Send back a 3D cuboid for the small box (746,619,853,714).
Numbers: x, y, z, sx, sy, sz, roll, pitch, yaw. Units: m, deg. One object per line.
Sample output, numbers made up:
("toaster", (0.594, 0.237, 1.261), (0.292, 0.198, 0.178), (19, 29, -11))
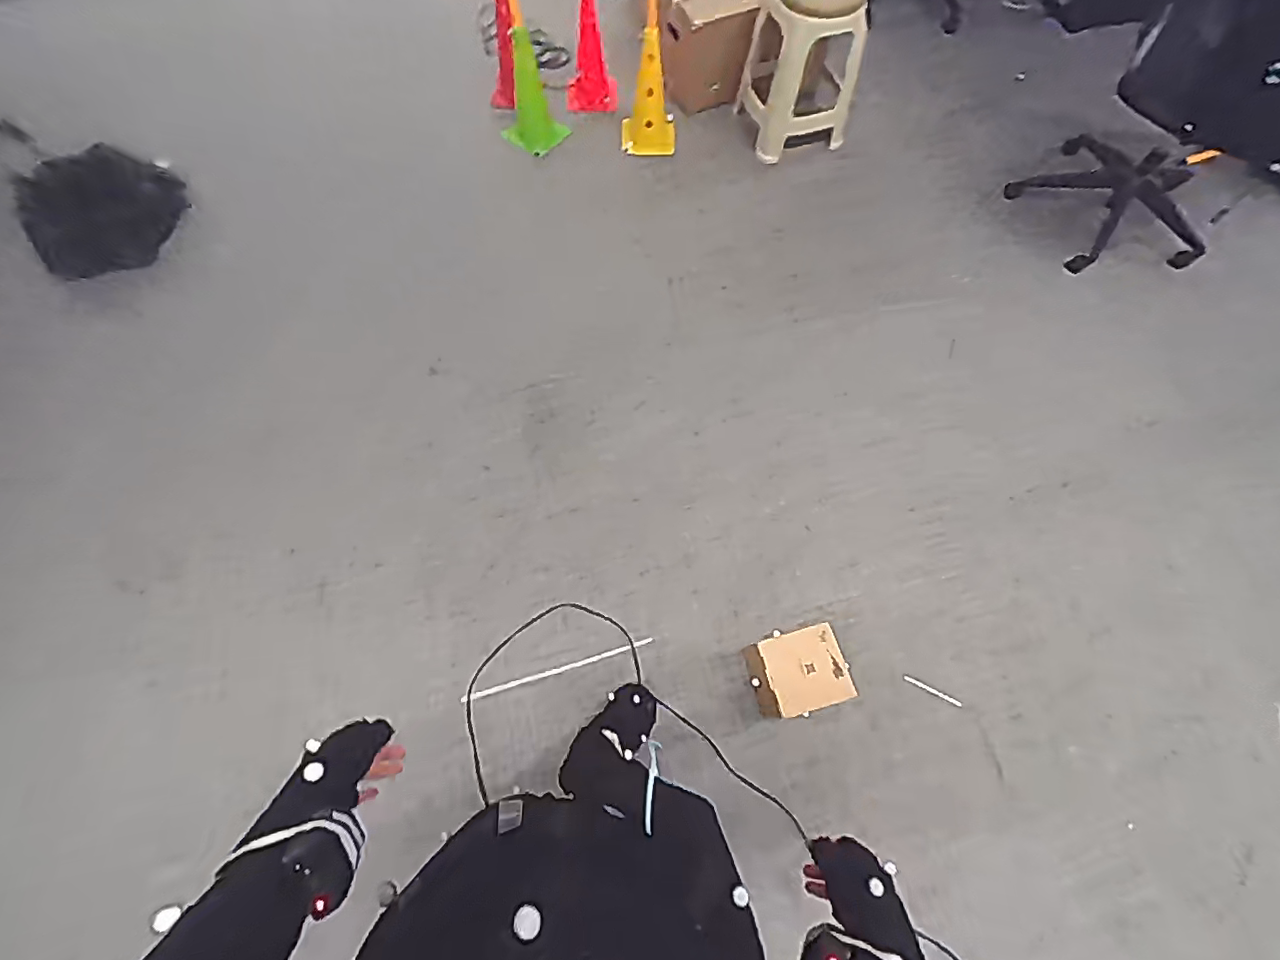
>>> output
("small box", (0.355, 0.436, 1.252), (0.179, 0.176, 0.168), (-14, 69, -6))
